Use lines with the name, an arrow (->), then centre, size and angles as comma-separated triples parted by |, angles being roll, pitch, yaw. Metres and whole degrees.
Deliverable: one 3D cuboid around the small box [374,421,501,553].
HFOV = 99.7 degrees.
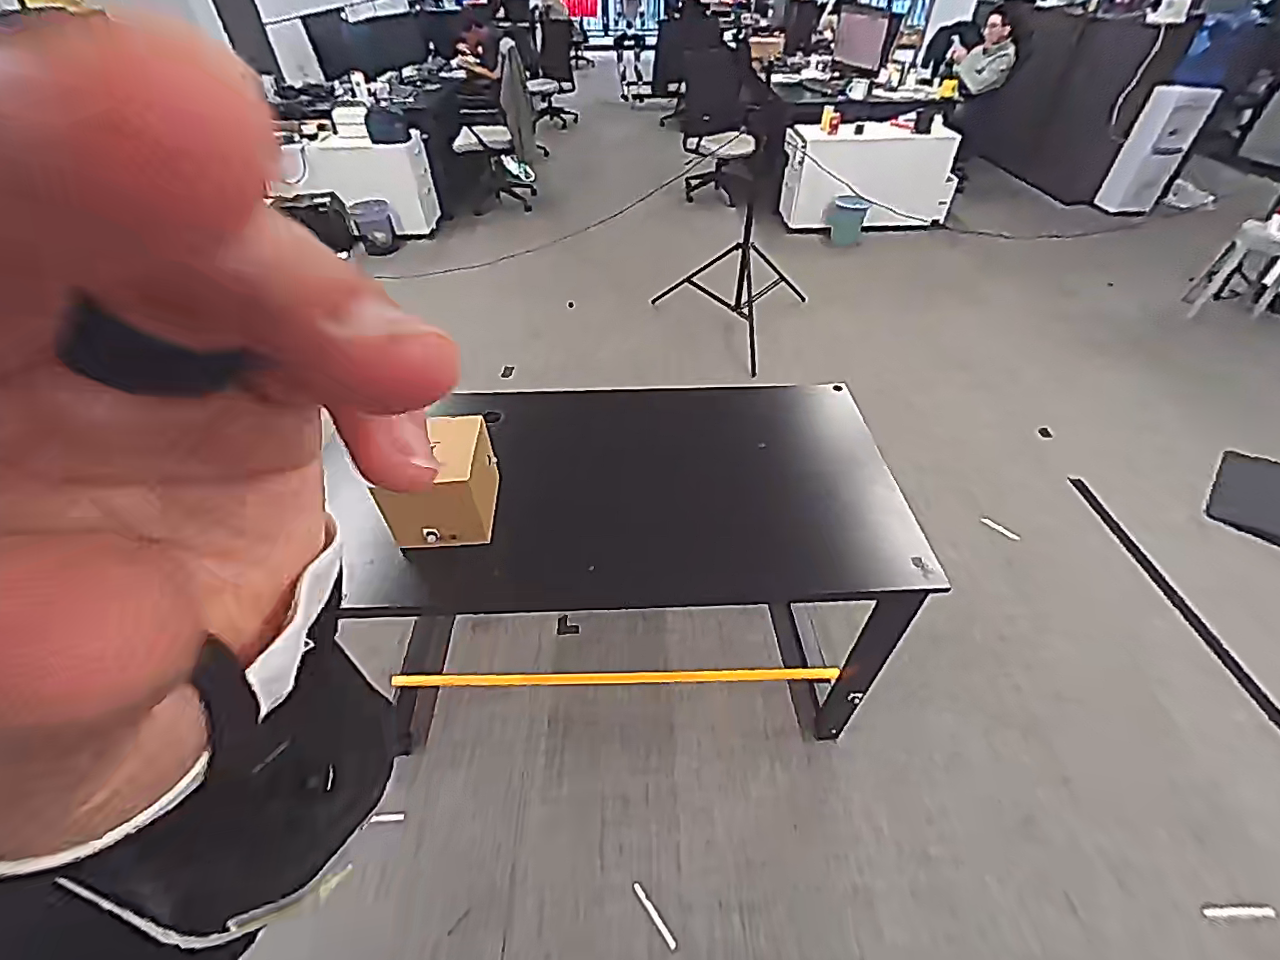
small box -> -0.360, 0.012, 1.000 | 0.168, 0.176, 0.179 | -5, 45, -3
